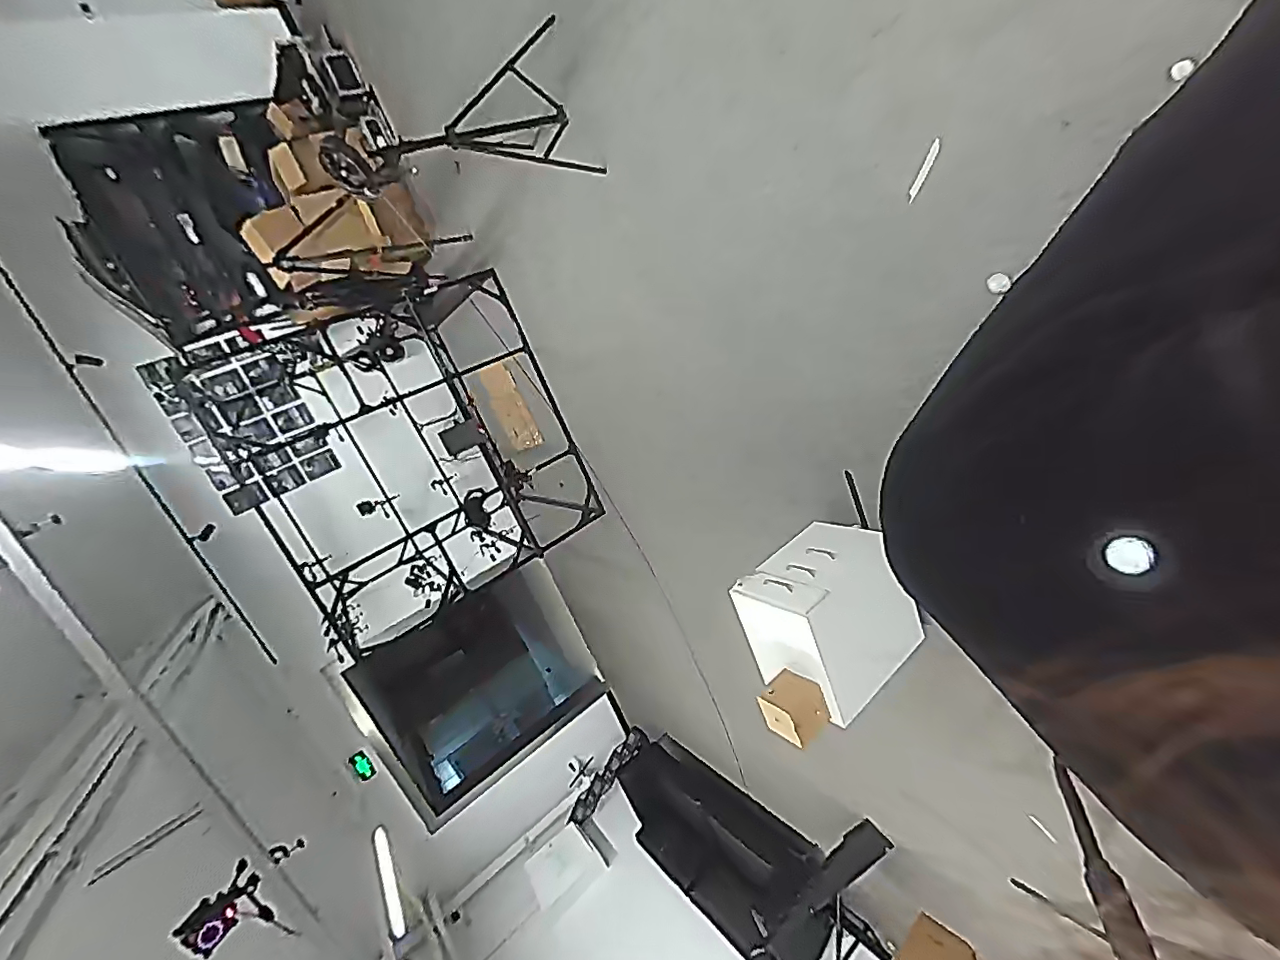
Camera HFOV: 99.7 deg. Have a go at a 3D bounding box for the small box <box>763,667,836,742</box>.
[{"bbox_3d":[0.600,0.834,2.032,0.179,0.176,0.168,6,123,60],"label":"small box"}]
